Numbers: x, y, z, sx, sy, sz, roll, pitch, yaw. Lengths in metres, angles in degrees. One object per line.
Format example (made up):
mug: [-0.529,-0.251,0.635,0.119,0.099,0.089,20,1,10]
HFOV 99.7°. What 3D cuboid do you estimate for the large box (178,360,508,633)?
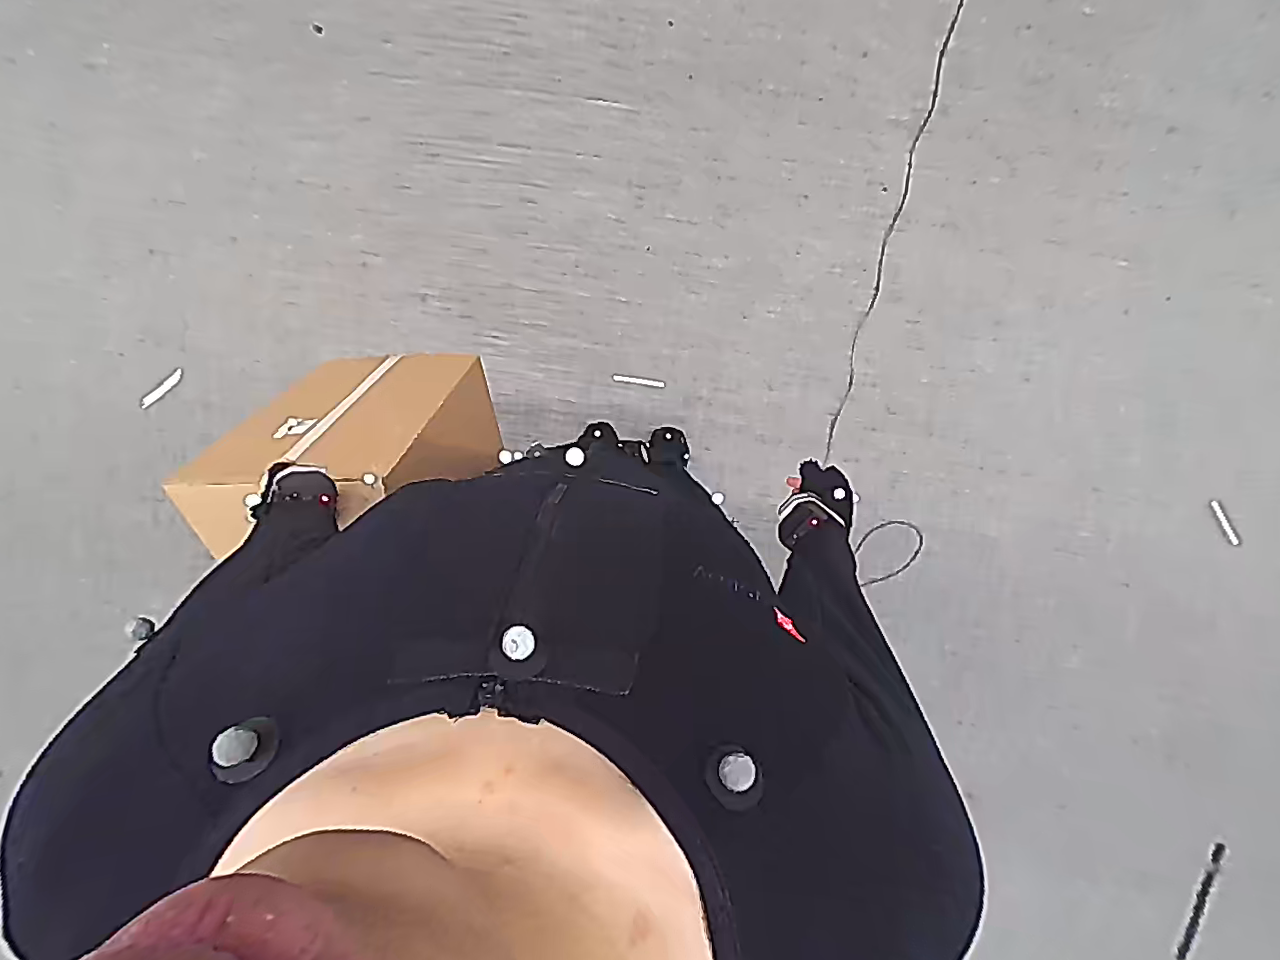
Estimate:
large box: [-0.458,0.016,0.964,0.320,0.408,0.320,-2,127,6]
